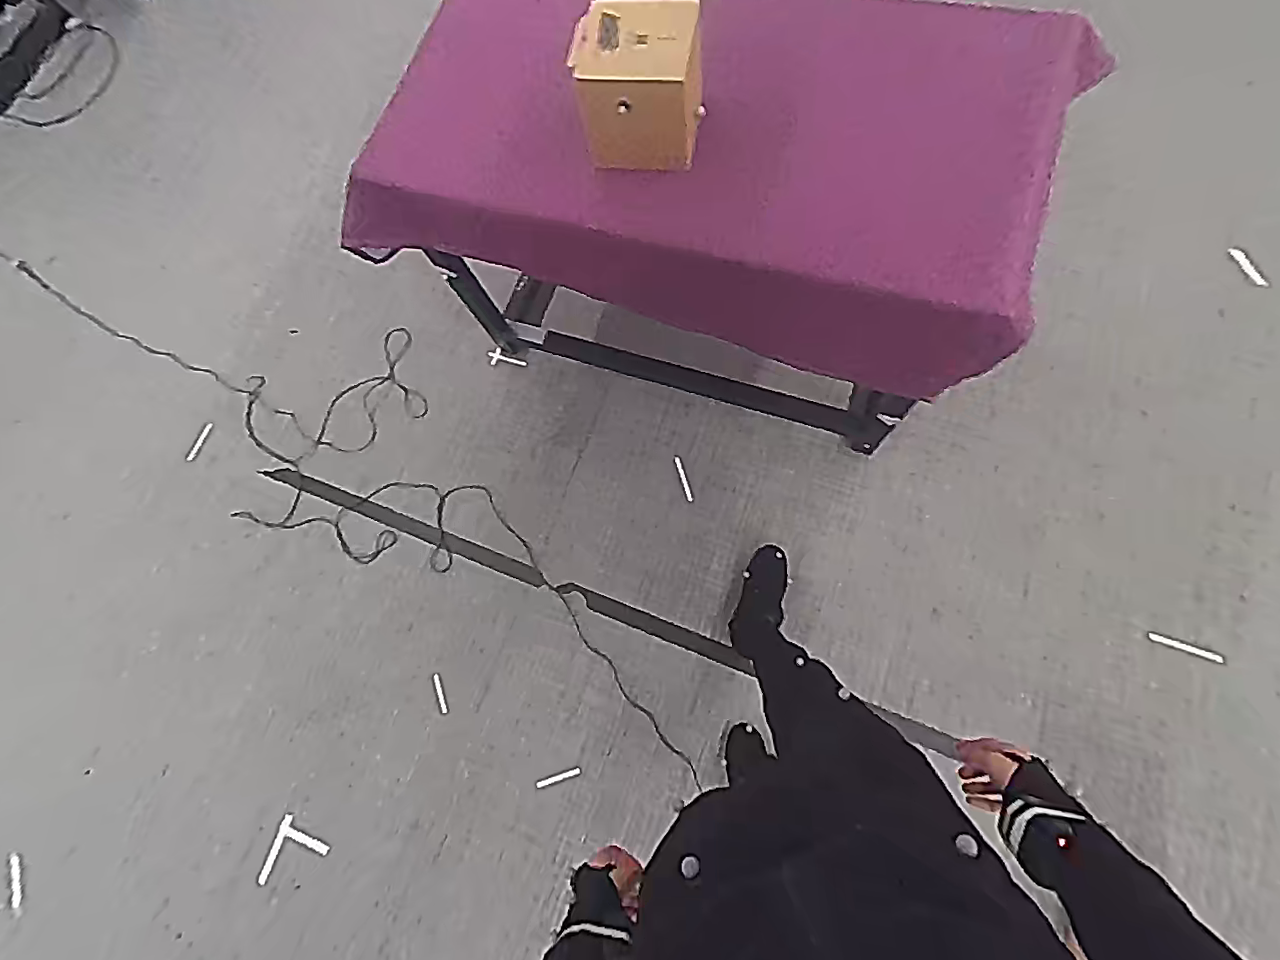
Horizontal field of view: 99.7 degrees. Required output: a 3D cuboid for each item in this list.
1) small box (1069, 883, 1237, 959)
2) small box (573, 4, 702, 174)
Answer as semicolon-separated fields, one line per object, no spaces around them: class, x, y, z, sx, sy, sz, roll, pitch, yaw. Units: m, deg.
small box;1.017;0.957;1.085;0.179;0.176;0.168;22;79;13
small box;0.005;-0.647;0.908;0.179;0.176;0.168;8;76;10
